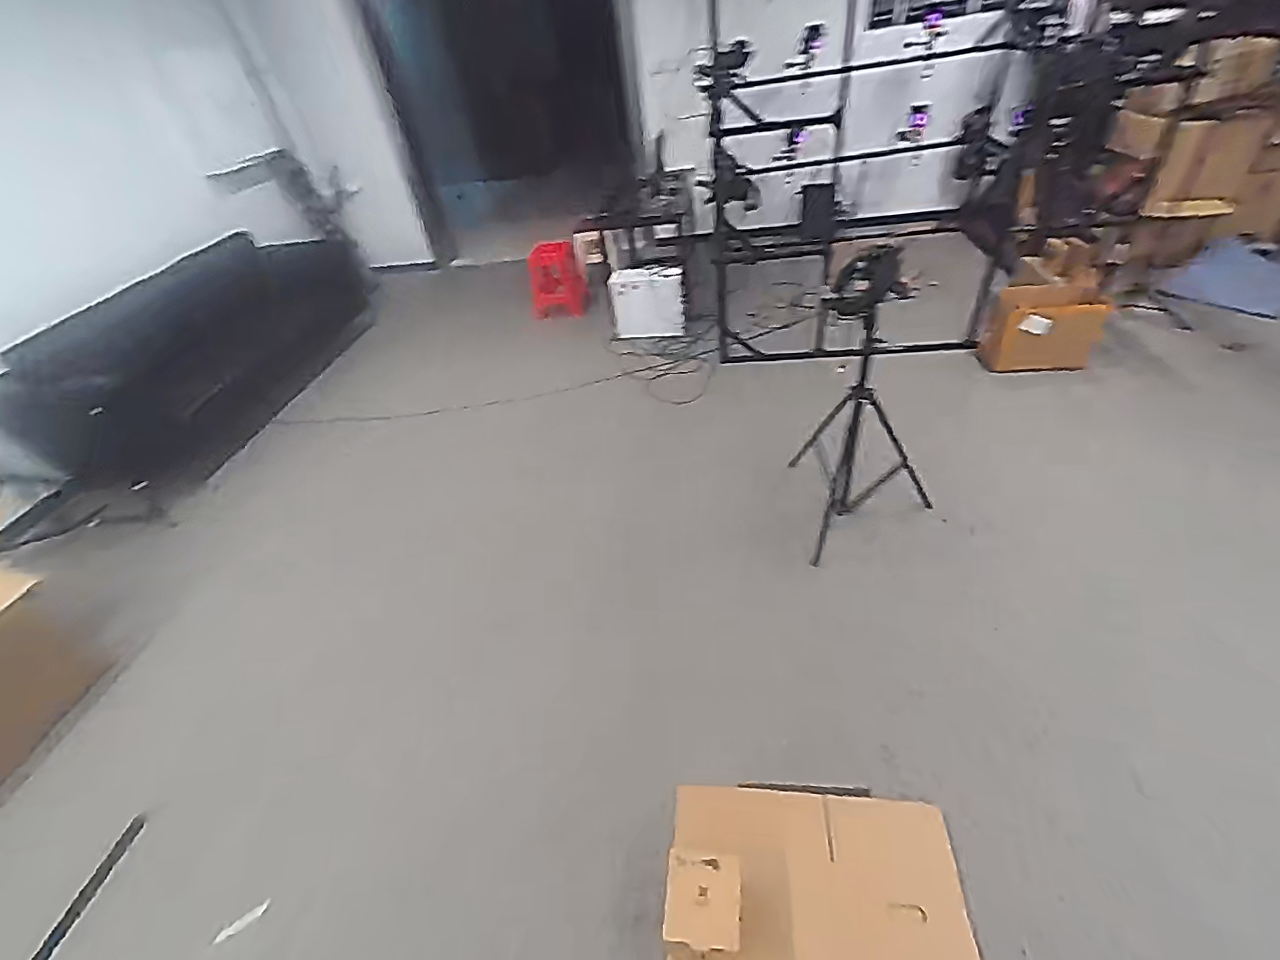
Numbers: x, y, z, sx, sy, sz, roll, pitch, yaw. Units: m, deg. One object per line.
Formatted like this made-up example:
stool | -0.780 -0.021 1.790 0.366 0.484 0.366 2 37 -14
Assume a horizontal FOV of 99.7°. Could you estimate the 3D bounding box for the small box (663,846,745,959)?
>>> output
small box | 0.154 0.978 1.244 0.168 0.176 0.179 0 42 12
